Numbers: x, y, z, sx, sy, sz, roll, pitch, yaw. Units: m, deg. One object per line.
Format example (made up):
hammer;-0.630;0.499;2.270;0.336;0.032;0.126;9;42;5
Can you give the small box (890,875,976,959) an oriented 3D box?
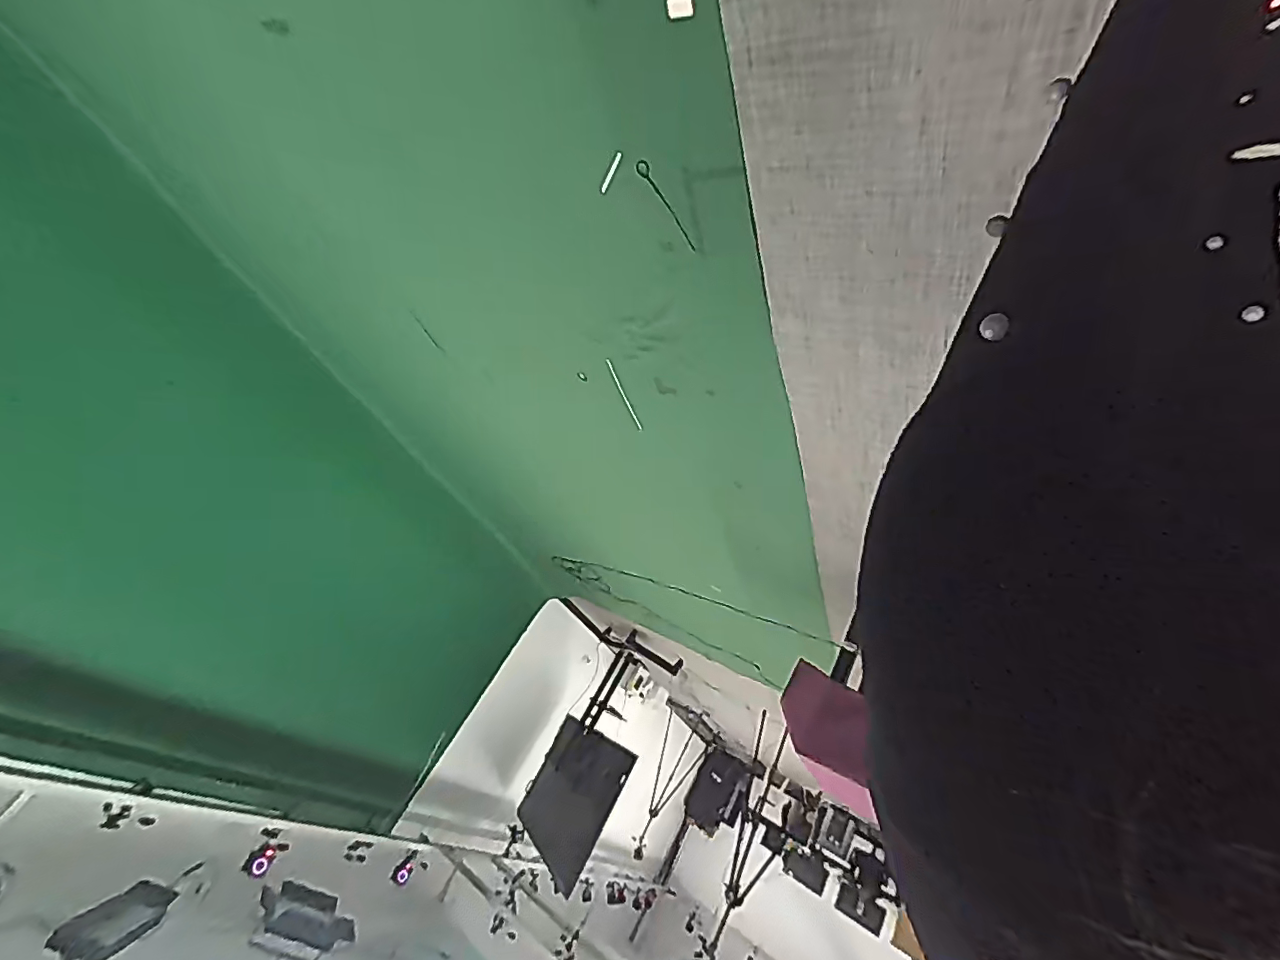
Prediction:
small box;0.823;1.248;1.524;0.179;0.176;0.168;14;150;35
